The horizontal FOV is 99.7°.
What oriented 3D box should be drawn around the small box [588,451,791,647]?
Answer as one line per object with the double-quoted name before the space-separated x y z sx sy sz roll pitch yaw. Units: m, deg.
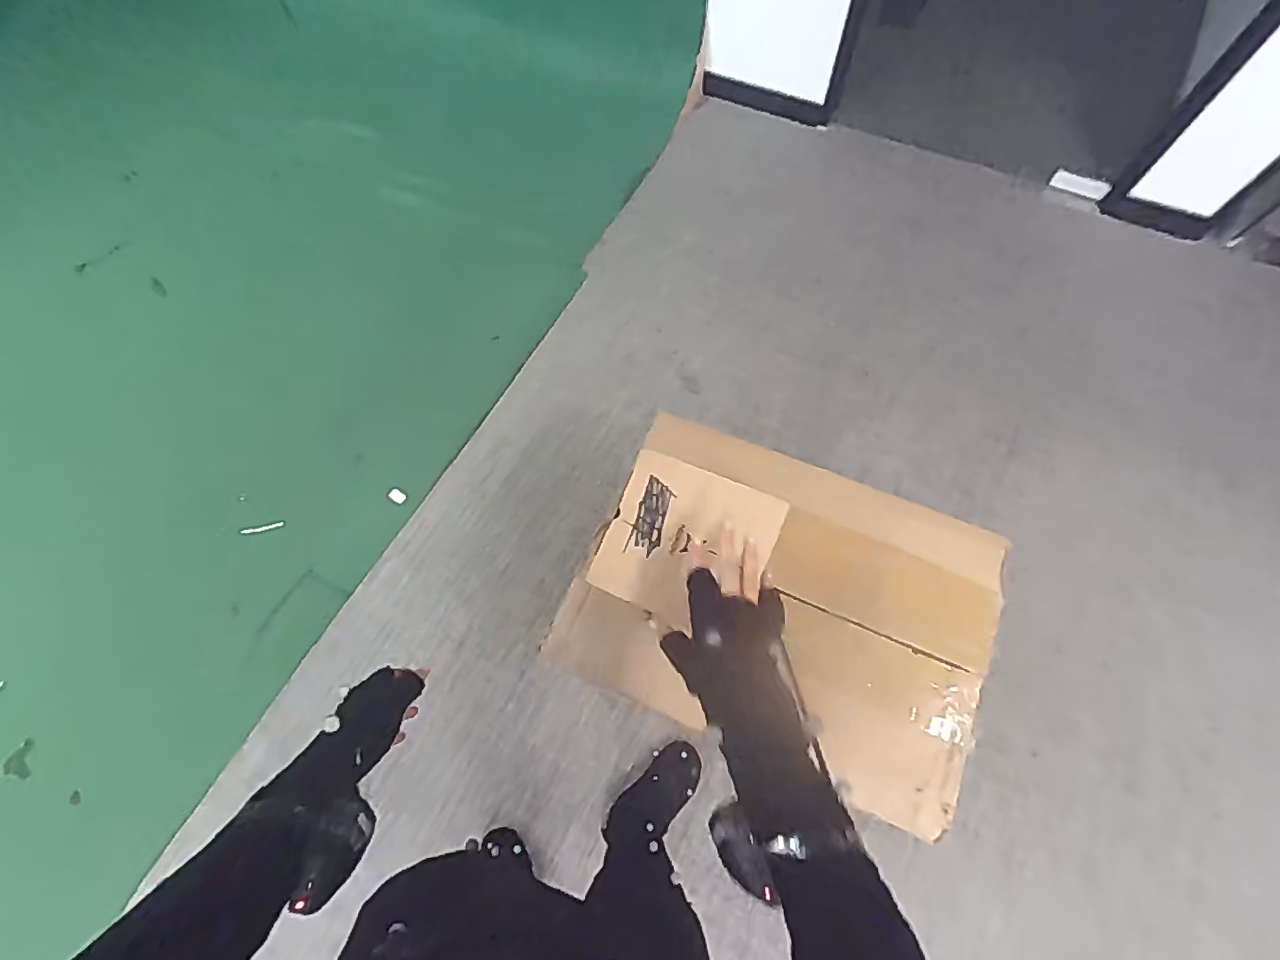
"small box" 0.062 0.088 0.660 0.179 0.176 0.168 22 81 11
